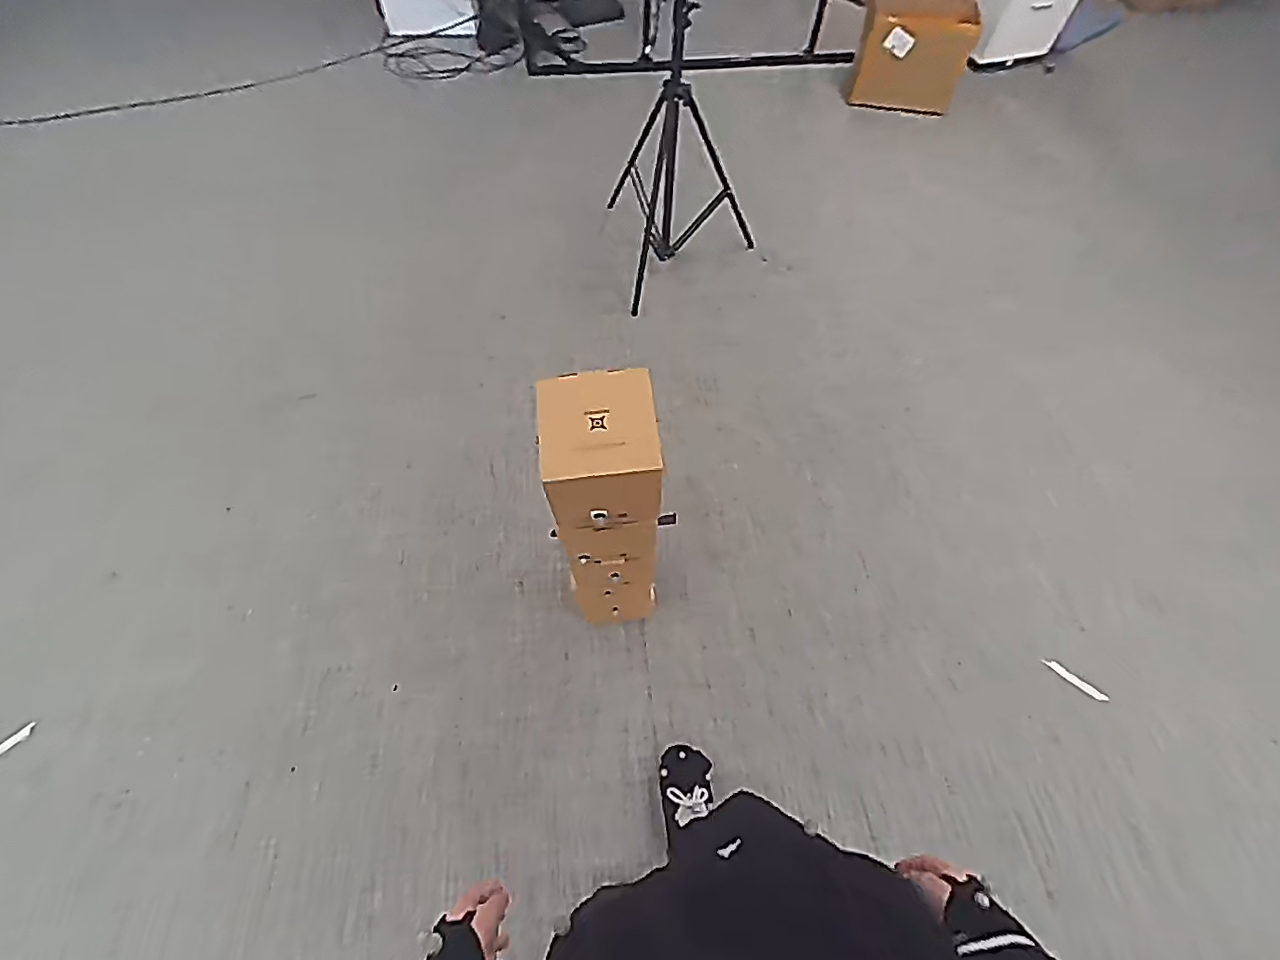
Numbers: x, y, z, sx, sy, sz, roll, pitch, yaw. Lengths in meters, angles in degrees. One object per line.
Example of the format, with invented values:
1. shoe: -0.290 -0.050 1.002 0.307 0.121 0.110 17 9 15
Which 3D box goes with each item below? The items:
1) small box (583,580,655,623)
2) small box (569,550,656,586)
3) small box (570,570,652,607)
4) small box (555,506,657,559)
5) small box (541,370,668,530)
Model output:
1. small box: -0.059 0.264 1.395 0.179 0.176 0.168 -5 63 -3
2. small box: -0.055 0.113 1.105 0.168 0.176 0.179 -4 63 -2
3. small box: -0.064 0.192 1.248 0.179 0.176 0.168 -3 63 -2
4. small box: -0.057 0.035 0.960 0.168 0.176 0.179 -4 62 -2
5. small box: -0.053 -0.041 0.817 0.168 0.176 0.179 -7 64 -2
